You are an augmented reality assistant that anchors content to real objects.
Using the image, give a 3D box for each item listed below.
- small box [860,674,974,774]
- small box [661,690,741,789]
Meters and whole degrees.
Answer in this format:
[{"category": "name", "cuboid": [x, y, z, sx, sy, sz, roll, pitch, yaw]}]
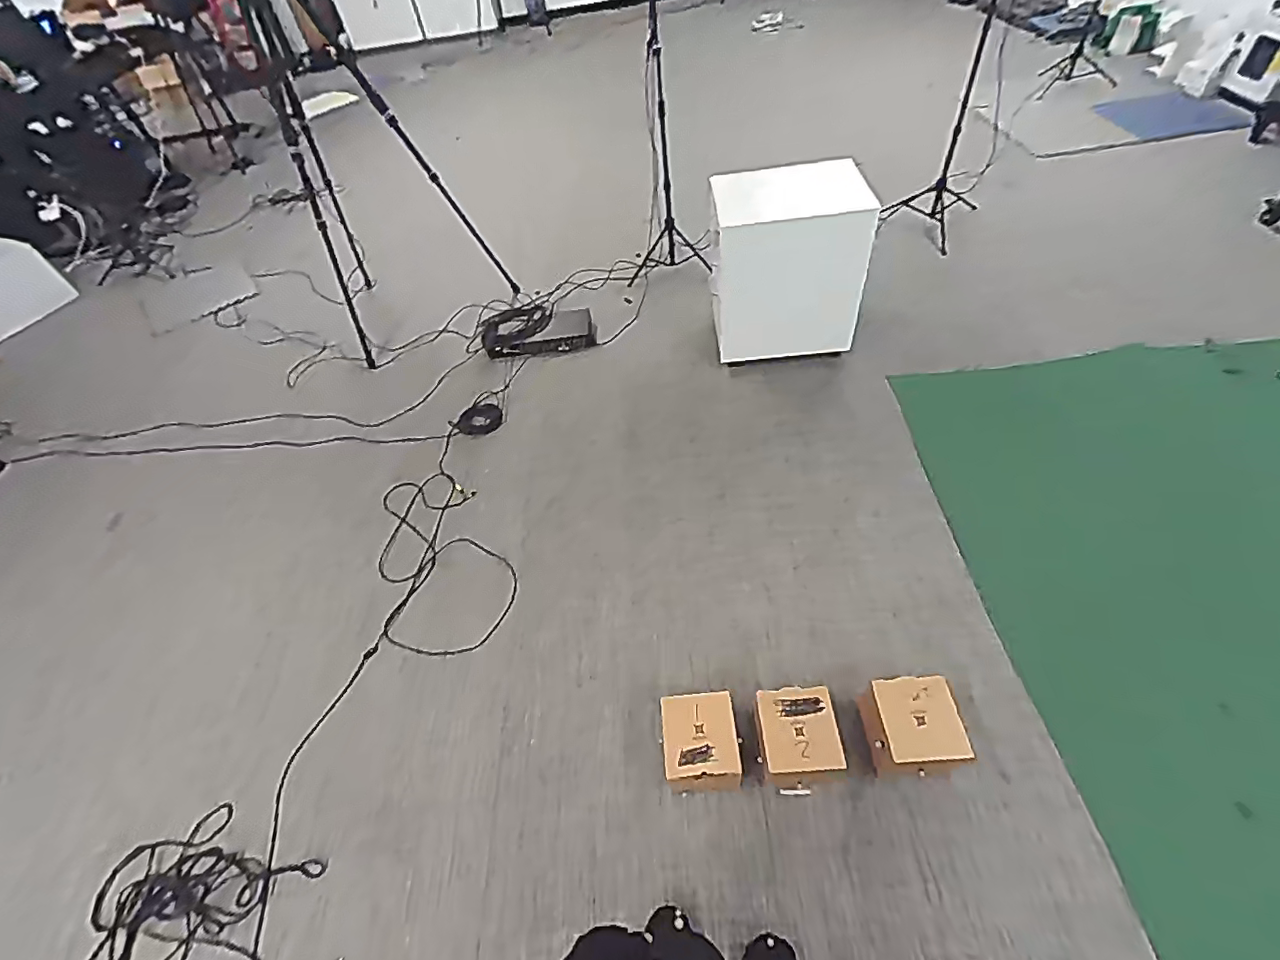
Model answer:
[{"category": "small box", "cuboid": [0.622, 0.565, 1.238, 0.168, 0.176, 0.179, -6, 50, 4]}, {"category": "small box", "cuboid": [0.144, 0.615, 1.271, 0.168, 0.176, 0.179, -7, 49, 4]}]
